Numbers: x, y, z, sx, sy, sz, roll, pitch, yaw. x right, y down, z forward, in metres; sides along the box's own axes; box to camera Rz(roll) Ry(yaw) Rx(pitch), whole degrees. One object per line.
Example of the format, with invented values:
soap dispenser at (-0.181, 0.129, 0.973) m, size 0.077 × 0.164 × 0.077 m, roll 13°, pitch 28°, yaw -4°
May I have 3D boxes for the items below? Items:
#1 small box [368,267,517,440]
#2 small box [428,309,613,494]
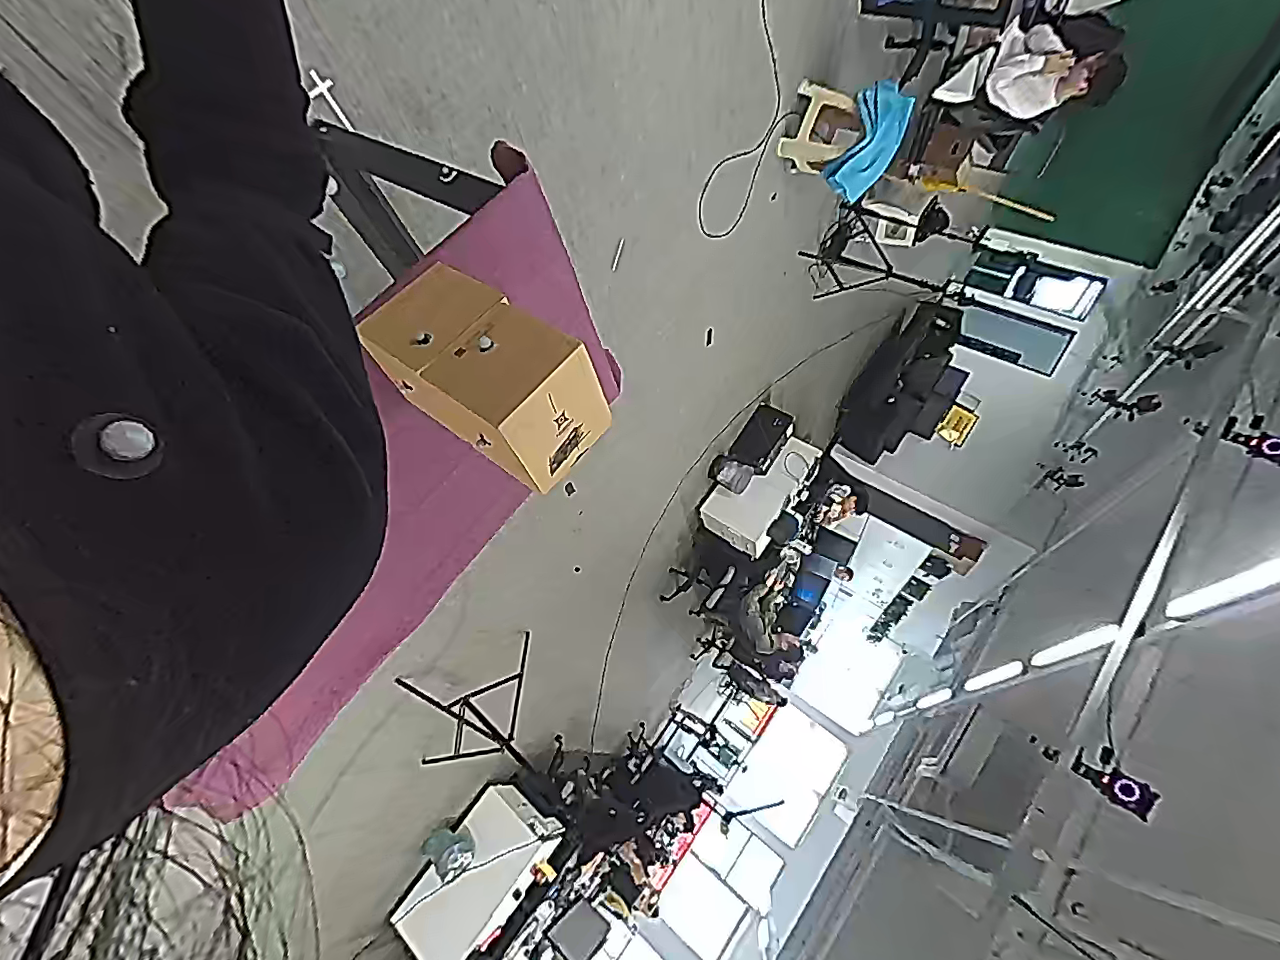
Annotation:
small box at (-0.294, -0.202, 0.856) m, size 0.179 × 0.176 × 0.168 m, roll -49°, pitch 153°, yaw -19°
small box at (-0.168, -0.116, 0.792) m, size 0.168 × 0.176 × 0.179 m, roll -49°, pitch 152°, yaw -18°
